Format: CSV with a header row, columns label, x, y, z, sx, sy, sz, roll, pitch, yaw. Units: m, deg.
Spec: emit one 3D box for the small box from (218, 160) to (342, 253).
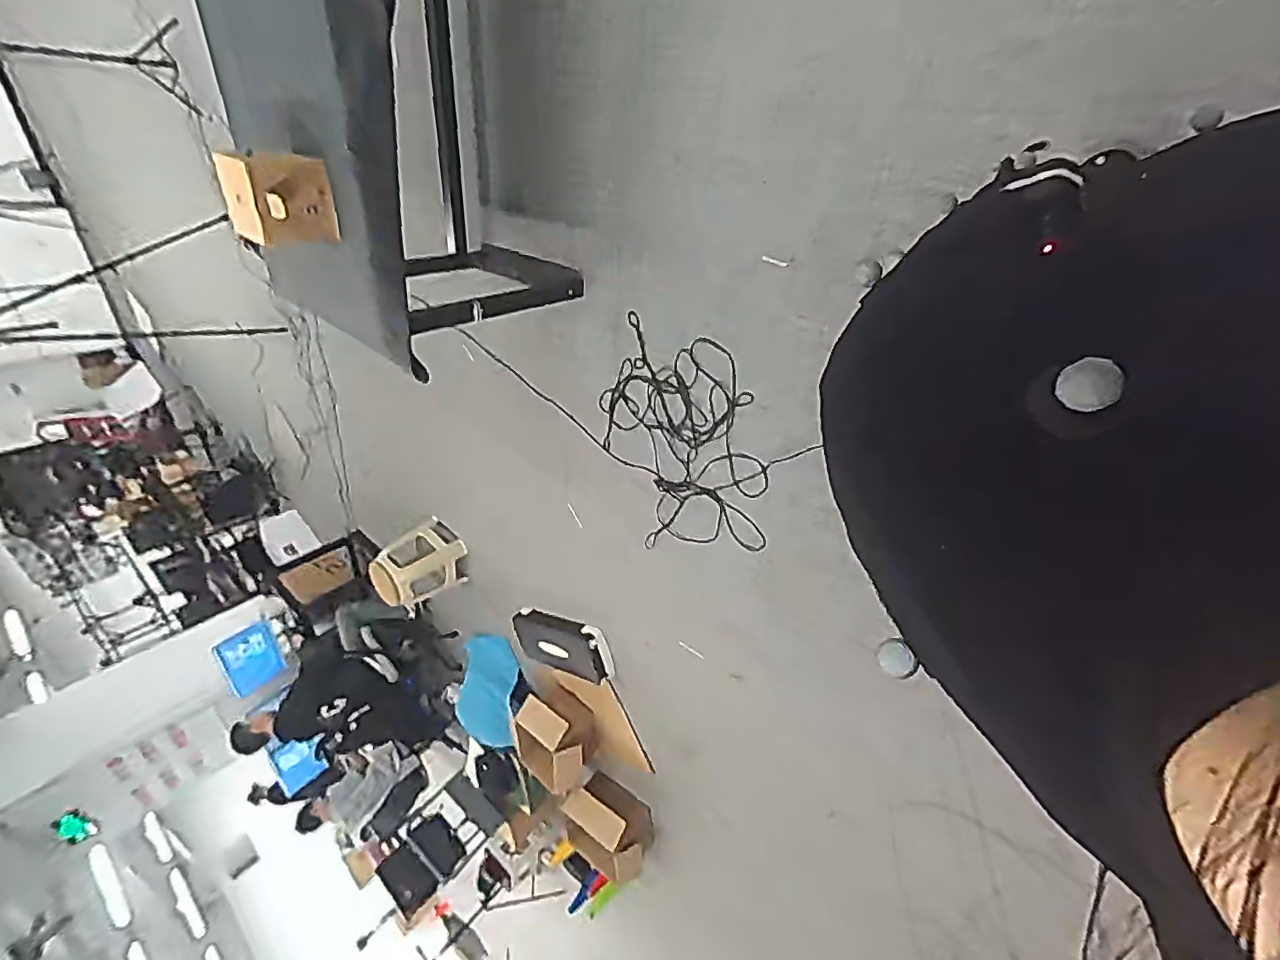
label,x,y,z,sx,sy,sz,roll,pitch,yaw
small box,-0.820,-0.631,1.245,0.179,0.176,0.168,27,128,30
